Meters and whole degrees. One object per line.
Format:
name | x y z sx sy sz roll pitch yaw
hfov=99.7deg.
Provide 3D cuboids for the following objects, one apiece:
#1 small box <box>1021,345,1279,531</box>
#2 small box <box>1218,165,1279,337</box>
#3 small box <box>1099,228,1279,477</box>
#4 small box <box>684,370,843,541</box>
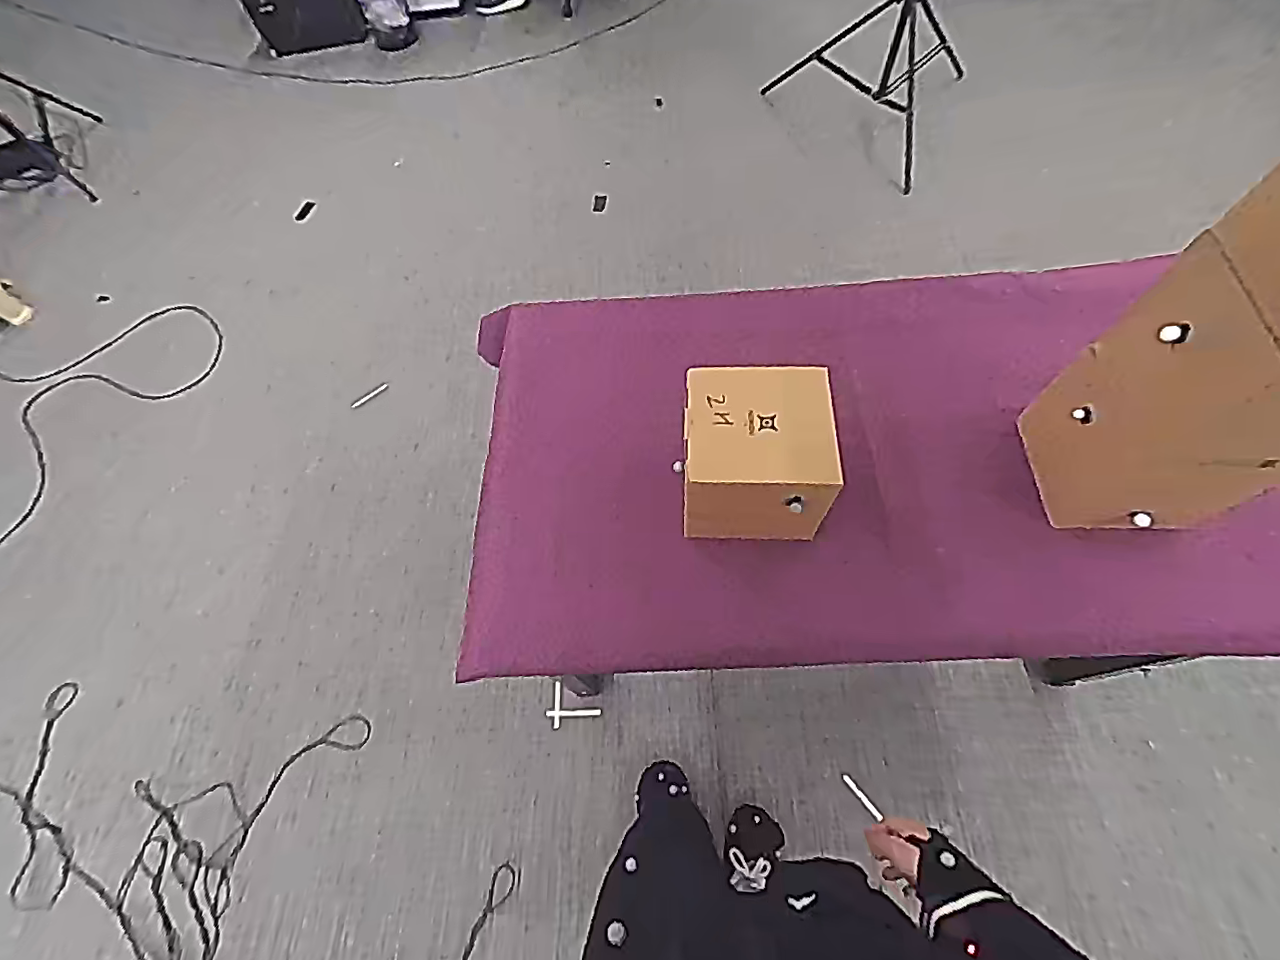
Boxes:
small box | 0.624 -0.049 0.681 0.168 0.176 0.179 0 63 5
small box | 0.600 -0.190 0.386 0.168 0.176 0.179 1 62 6
small box | 0.612 -0.121 0.534 0.168 0.176 0.179 2 62 6
small box | 0.148 -0.027 0.709 0.179 0.176 0.168 0 62 5
